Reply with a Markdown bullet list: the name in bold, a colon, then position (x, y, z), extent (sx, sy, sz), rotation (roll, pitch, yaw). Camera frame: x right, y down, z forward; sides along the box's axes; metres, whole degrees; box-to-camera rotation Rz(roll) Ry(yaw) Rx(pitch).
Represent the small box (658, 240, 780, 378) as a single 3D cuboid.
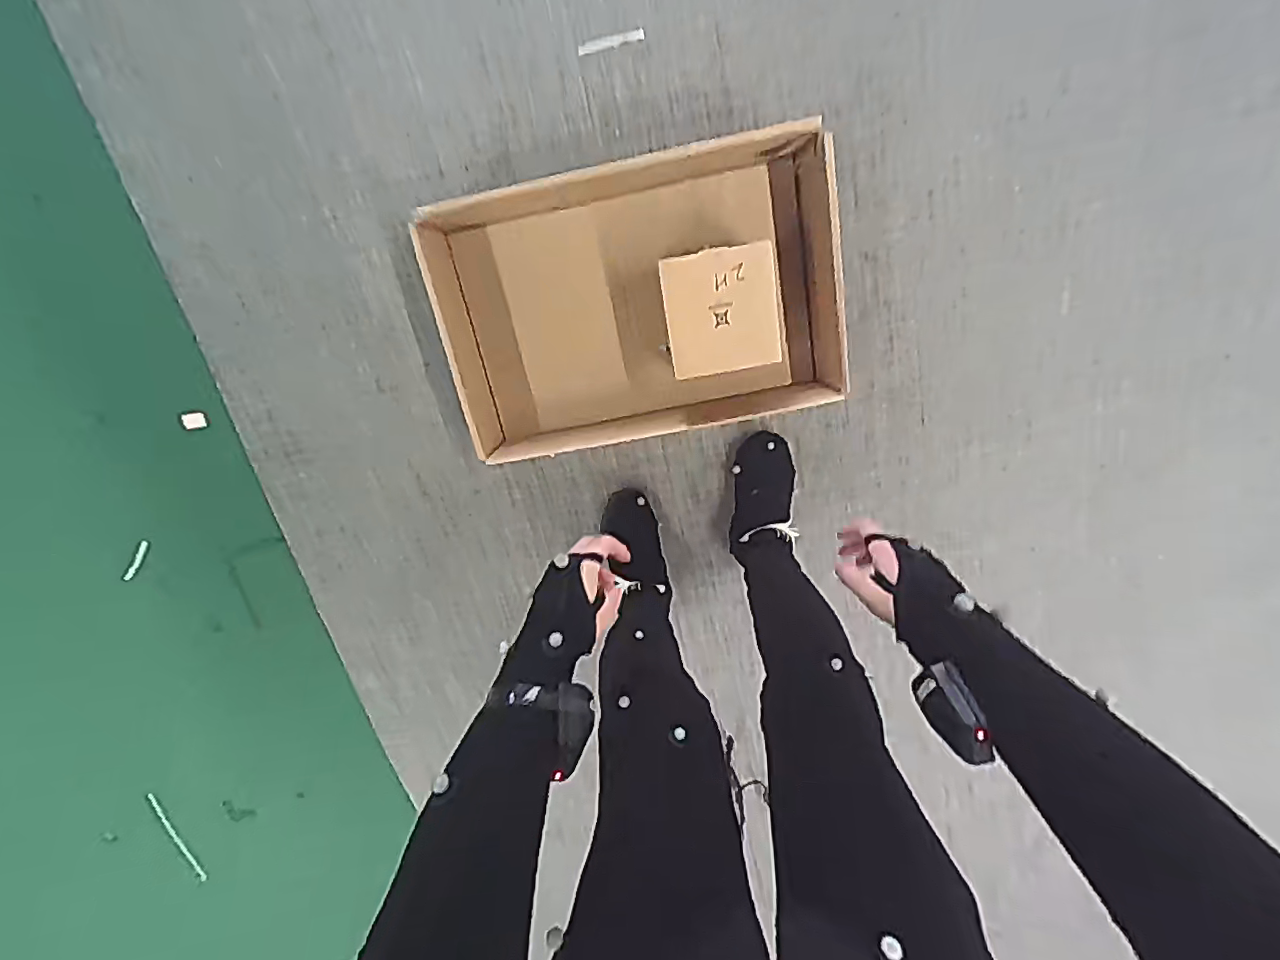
- **small box**: position (0.122, -0.274, 0.868), extent (0.168, 0.176, 0.179), rotation (-9, 108, 4)
